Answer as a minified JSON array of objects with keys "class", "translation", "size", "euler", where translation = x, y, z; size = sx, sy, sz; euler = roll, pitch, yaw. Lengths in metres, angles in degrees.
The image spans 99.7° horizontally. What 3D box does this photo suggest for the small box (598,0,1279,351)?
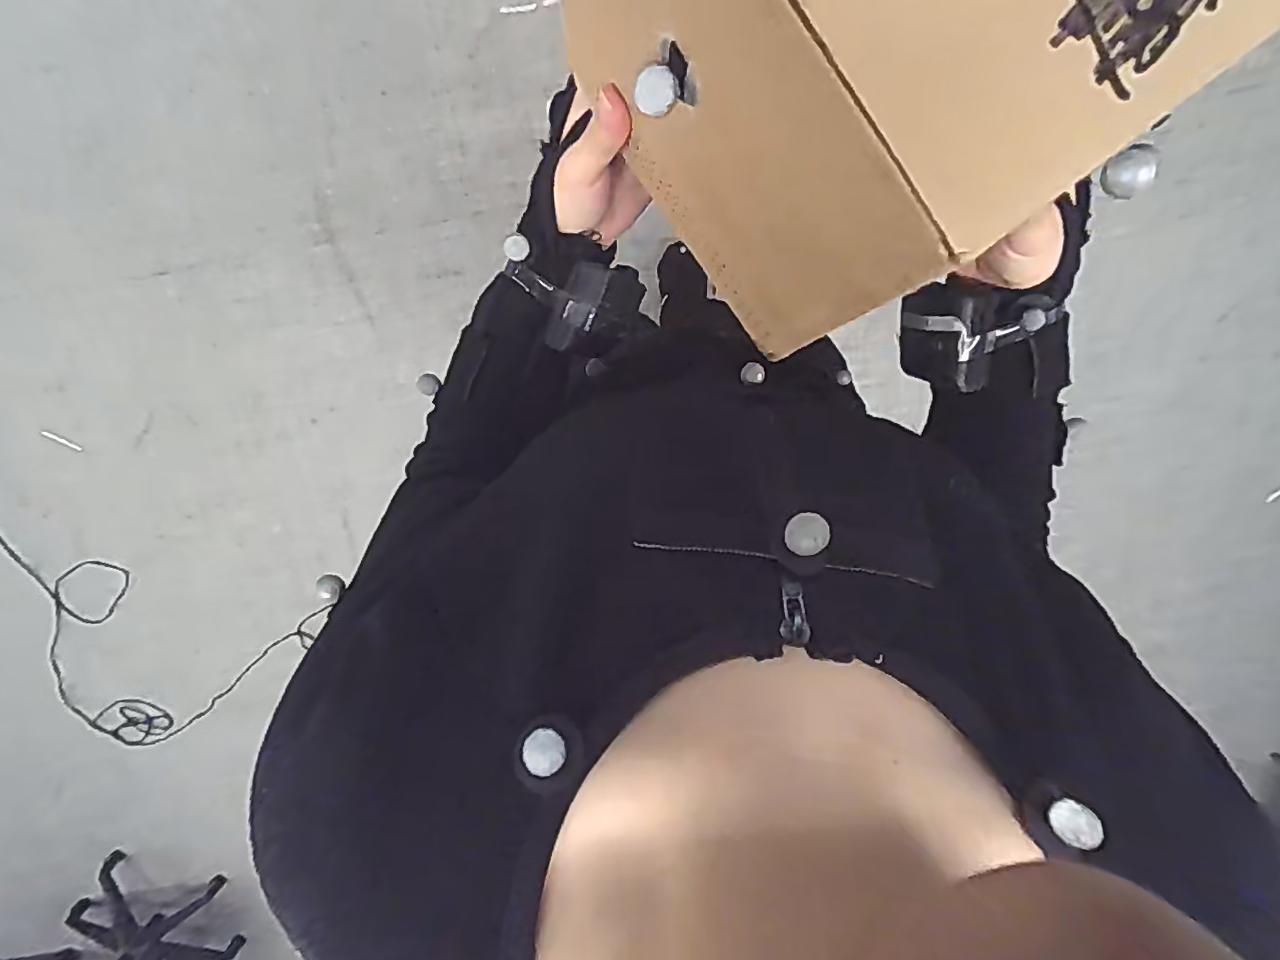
[{"class":"small box","translation":[0.092,-0.173,0.206],"size":[0.168,0.176,0.179],"euler":[-37,94,3]}]
